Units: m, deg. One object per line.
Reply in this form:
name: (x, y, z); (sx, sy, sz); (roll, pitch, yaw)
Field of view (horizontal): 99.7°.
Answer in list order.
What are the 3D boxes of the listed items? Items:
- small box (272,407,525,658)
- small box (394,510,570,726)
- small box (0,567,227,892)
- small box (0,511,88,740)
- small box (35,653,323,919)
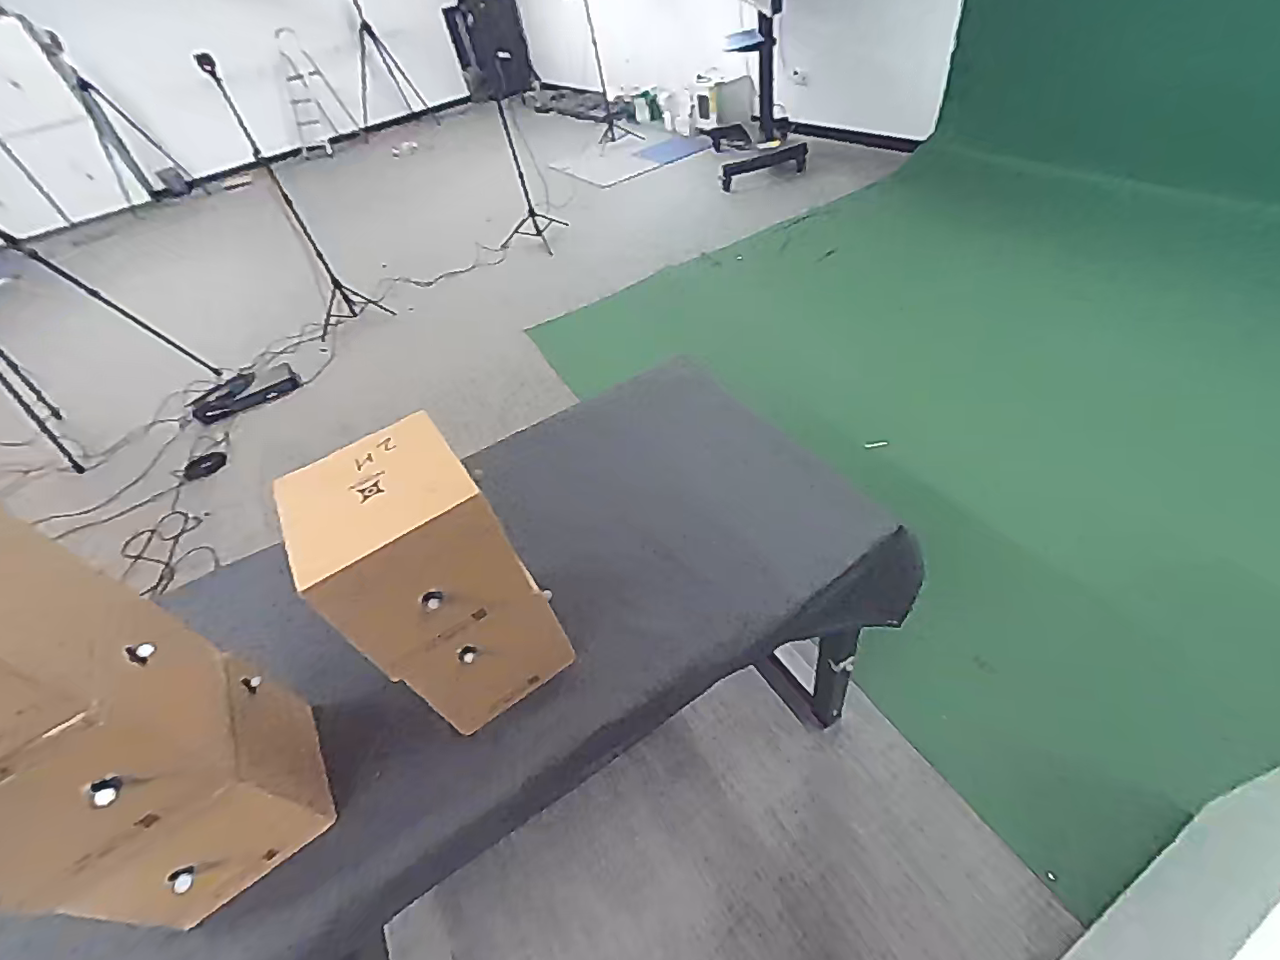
small box: (-0.244, 0.060, 0.569); (0.168, 0.176, 0.179); (-30, 47, -18)
small box: (-0.213, 0.172, 0.688); (0.168, 0.176, 0.179); (-31, 47, -18)
small box: (-0.504, 0.218, 0.474); (0.168, 0.176, 0.179); (-32, 46, -21)
small box: (-0.530, 0.102, 0.361); (0.168, 0.176, 0.179); (-33, 47, -21)
small box: (-0.479, 0.334, 0.589); (0.168, 0.176, 0.179); (-31, 47, -20)
